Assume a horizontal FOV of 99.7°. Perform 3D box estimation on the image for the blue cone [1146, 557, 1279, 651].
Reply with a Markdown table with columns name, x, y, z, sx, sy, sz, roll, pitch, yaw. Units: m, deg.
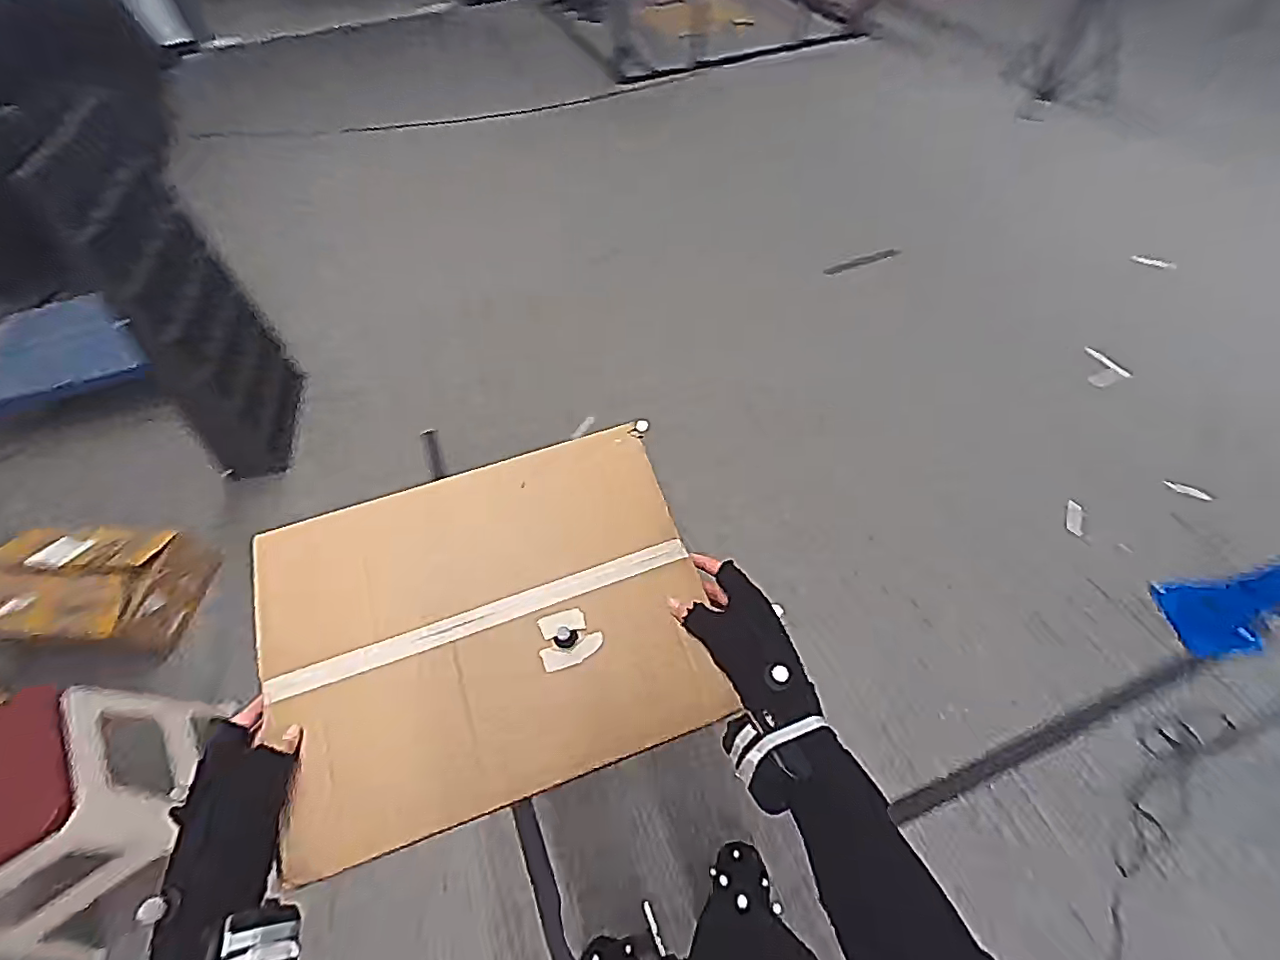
| name | x | y | z | sx | sy | sz | roll | pitch | yaw |
| --- | --- | --- | --- | --- | --- | --- | --- | --- | --- |
| blue cone | 1.504 | 0.269 | 1.330 | 0.192 | 0.380 | 0.193 | -3 | 54 | 2 |
